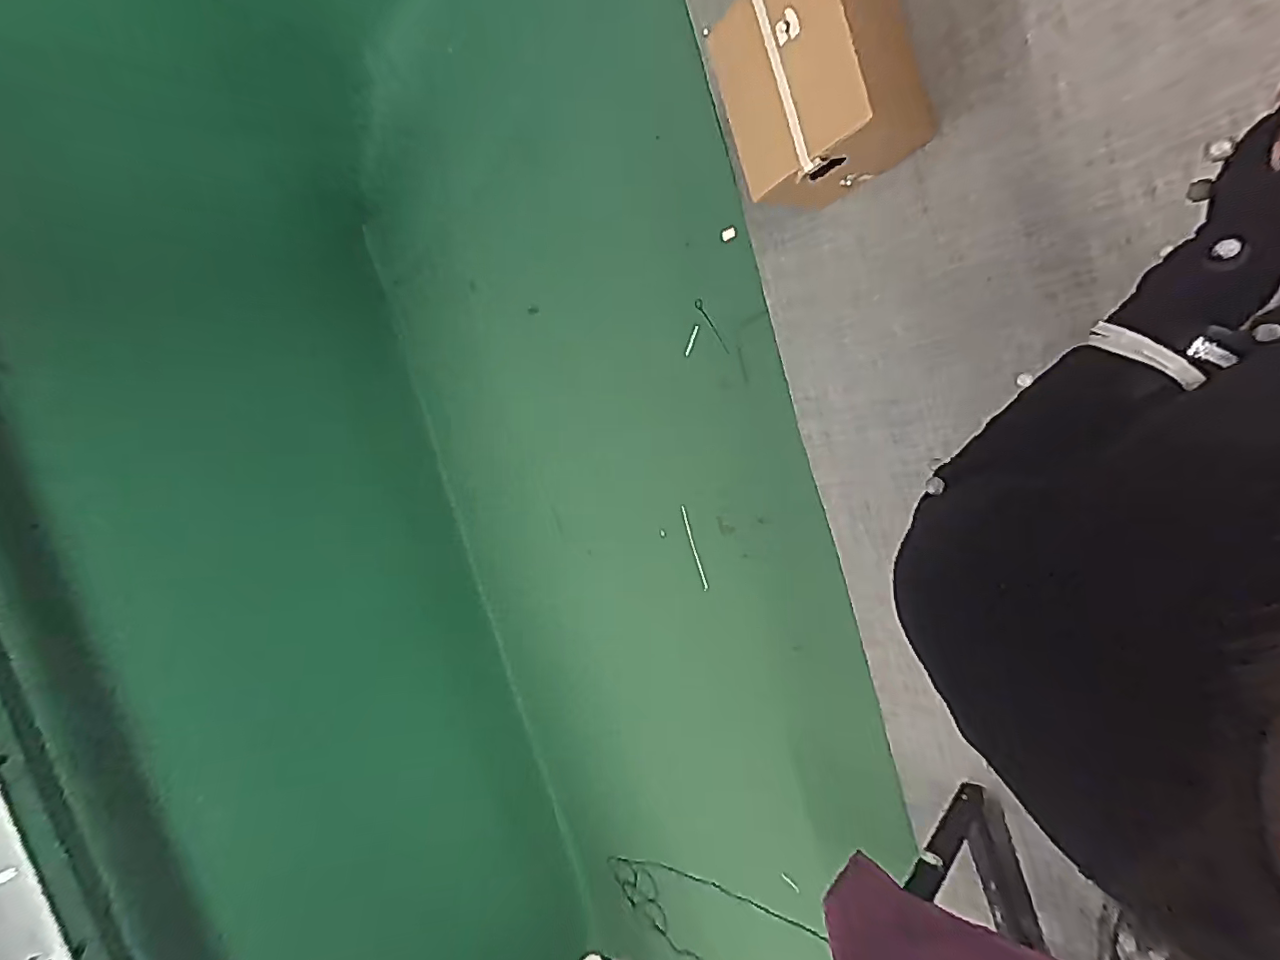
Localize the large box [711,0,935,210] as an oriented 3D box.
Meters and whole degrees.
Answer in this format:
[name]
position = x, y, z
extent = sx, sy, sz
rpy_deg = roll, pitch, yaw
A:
[large box]
position = 0.429, -0.913, 1.271
extent = 0.320, 0.320, 0.408
rpy_deg = -13, 95, 52
